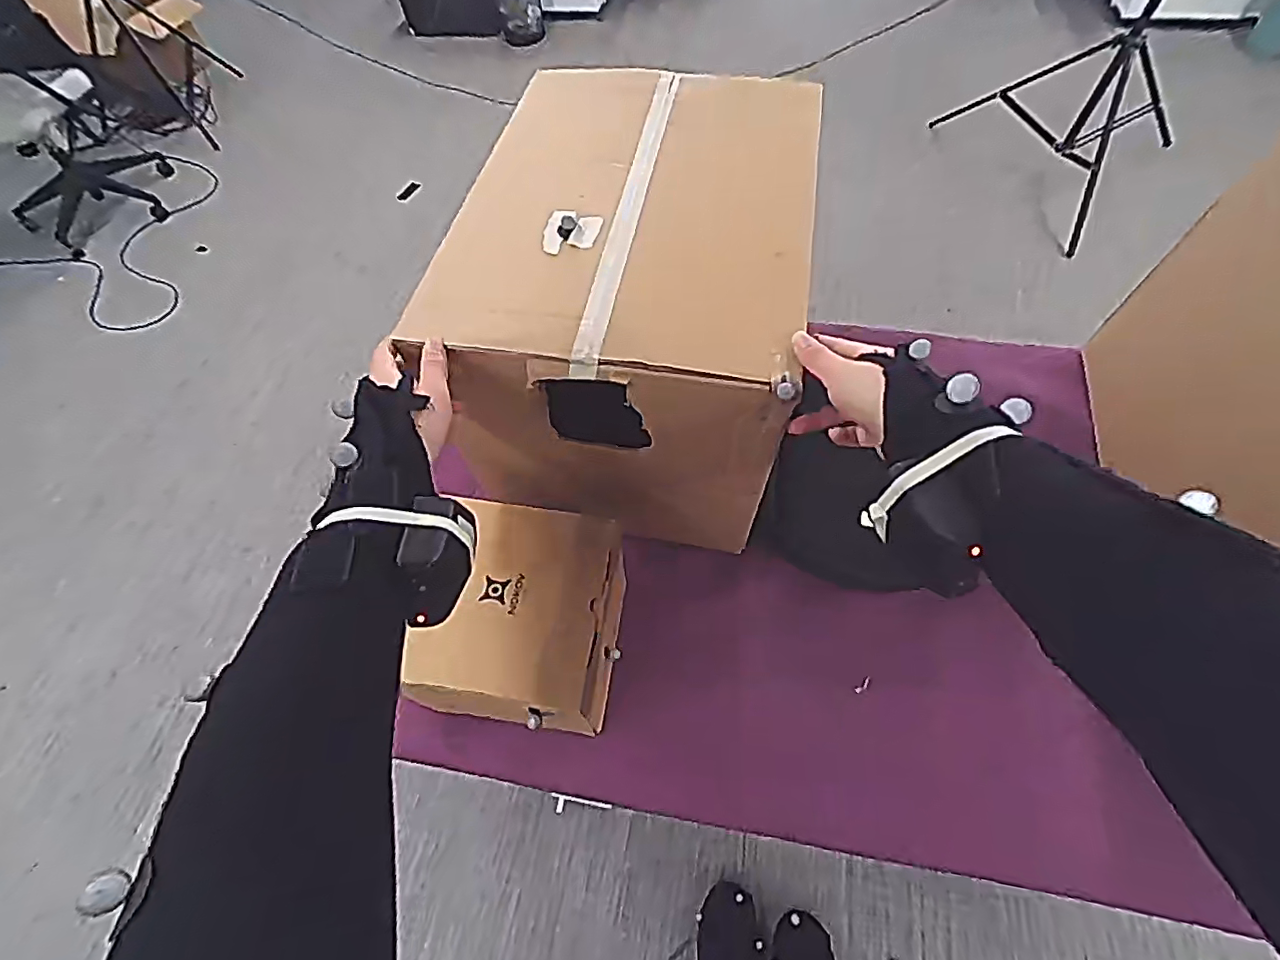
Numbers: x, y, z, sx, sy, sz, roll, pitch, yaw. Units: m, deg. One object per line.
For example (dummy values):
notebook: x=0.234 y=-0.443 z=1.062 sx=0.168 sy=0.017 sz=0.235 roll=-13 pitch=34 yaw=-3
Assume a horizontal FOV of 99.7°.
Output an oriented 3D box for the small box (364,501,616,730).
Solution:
small box: x=-0.124 y=0.140 z=0.531 sx=0.179 sy=0.176 sz=0.168 roll=7 pitch=60 yaw=4

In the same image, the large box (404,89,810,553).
large box: x=0.000 y=-0.171 z=0.628 sx=0.320 sy=0.320 sz=0.408 roll=8 pitch=63 yaw=8
